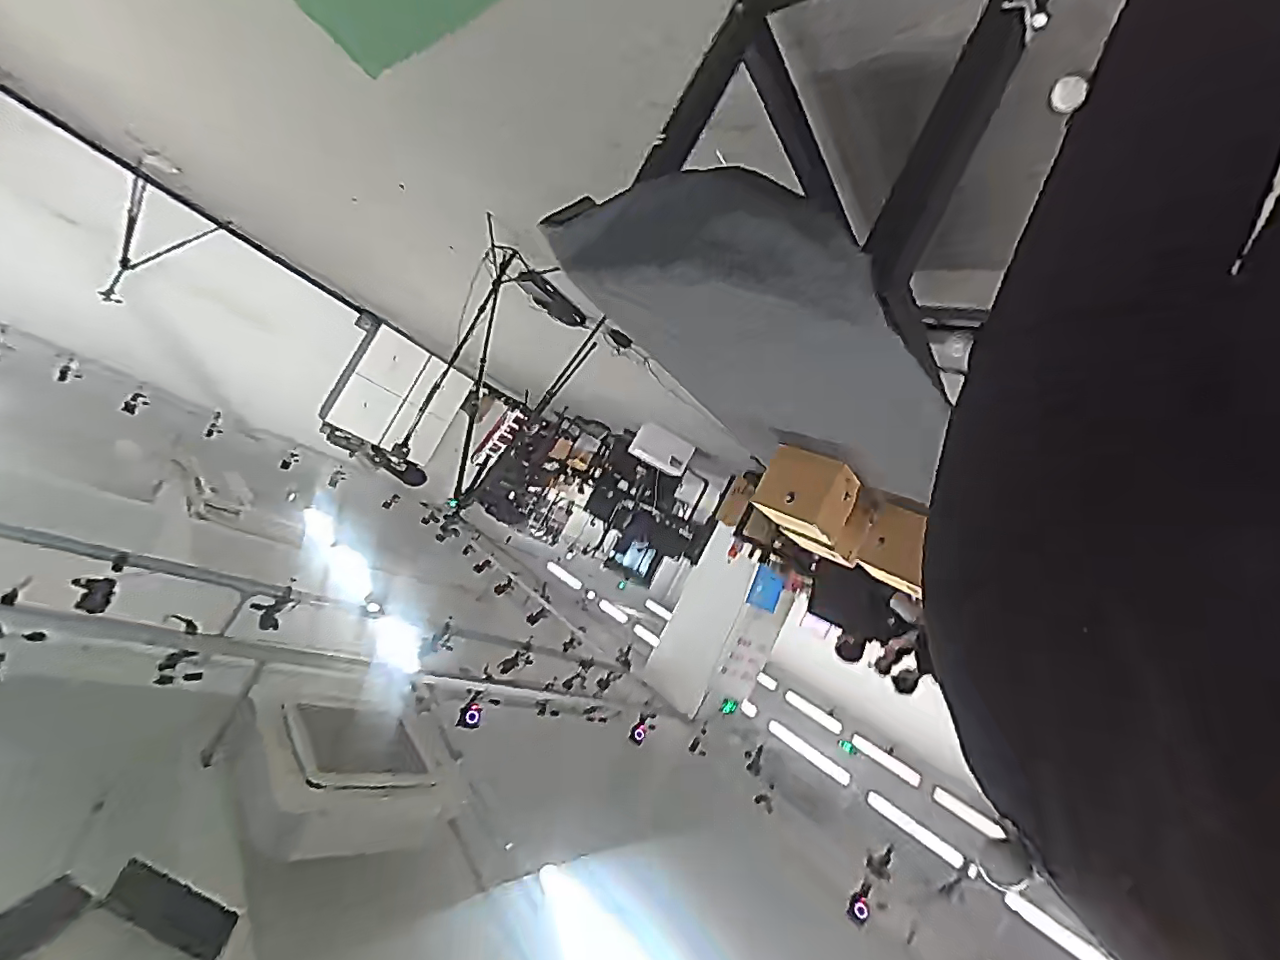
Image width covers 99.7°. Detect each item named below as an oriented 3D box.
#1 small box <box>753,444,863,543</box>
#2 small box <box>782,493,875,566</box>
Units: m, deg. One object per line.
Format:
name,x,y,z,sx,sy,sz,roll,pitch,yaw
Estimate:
small box,0.417,0.028,1.336,0.179,0.176,0.168,22,172,42
small box,0.538,0.115,1.524,0.179,0.176,0.168,24,173,45
